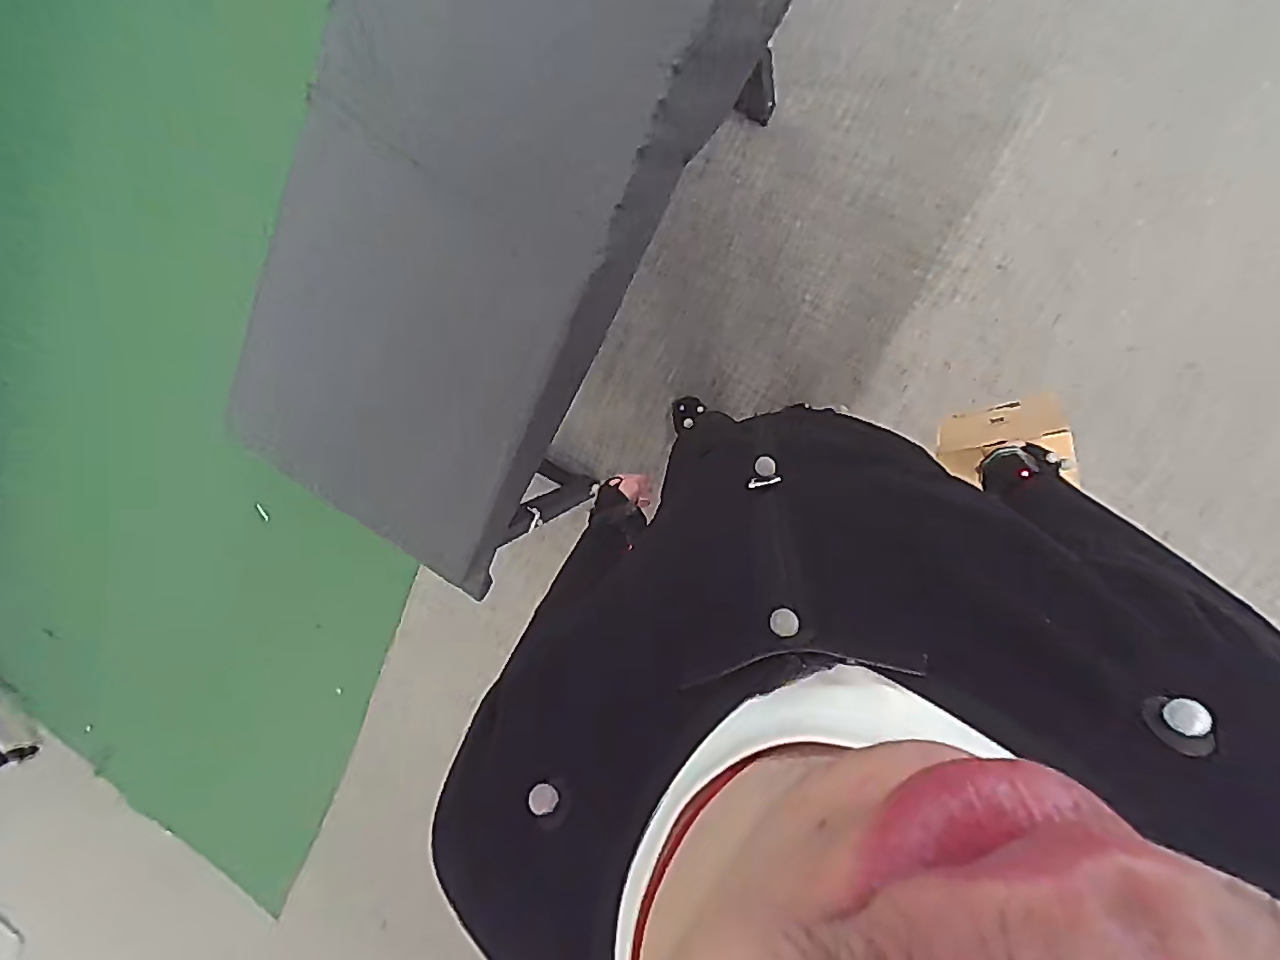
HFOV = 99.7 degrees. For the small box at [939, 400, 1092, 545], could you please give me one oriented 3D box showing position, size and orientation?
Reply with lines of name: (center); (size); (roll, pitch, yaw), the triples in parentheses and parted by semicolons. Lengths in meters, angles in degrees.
small box: (0.589, -0.005, 0.862); (0.168, 0.179, 0.176); (-14, 105, 33)
